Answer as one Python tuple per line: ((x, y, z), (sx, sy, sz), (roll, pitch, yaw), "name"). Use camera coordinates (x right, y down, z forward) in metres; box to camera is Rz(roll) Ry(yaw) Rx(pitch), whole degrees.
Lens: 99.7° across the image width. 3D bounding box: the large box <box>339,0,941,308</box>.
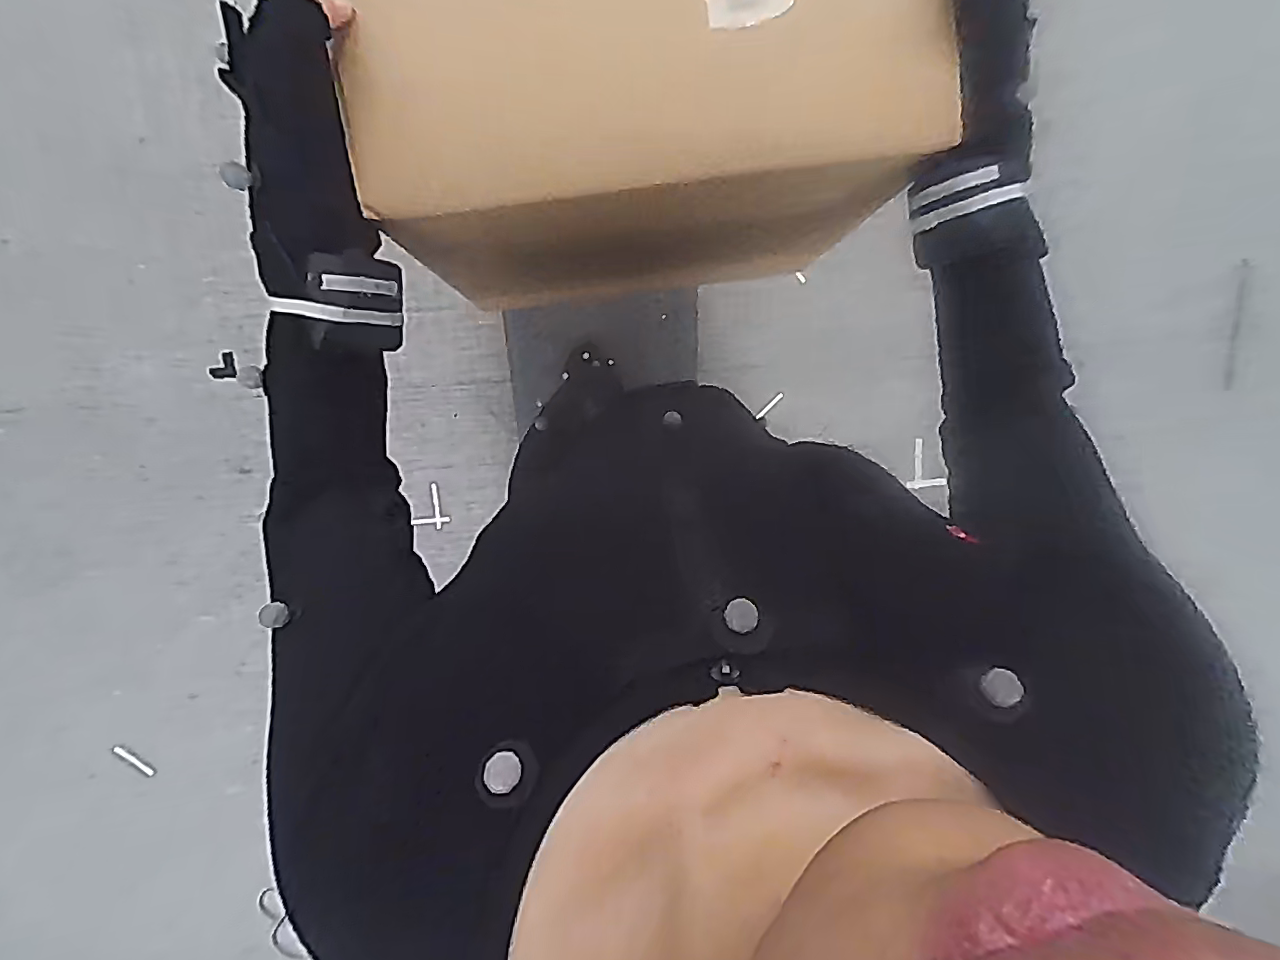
((-0.013, -0.375, 0.506), (0.408, 0.320, 0.320), (-8, 97, -2), "large box")
